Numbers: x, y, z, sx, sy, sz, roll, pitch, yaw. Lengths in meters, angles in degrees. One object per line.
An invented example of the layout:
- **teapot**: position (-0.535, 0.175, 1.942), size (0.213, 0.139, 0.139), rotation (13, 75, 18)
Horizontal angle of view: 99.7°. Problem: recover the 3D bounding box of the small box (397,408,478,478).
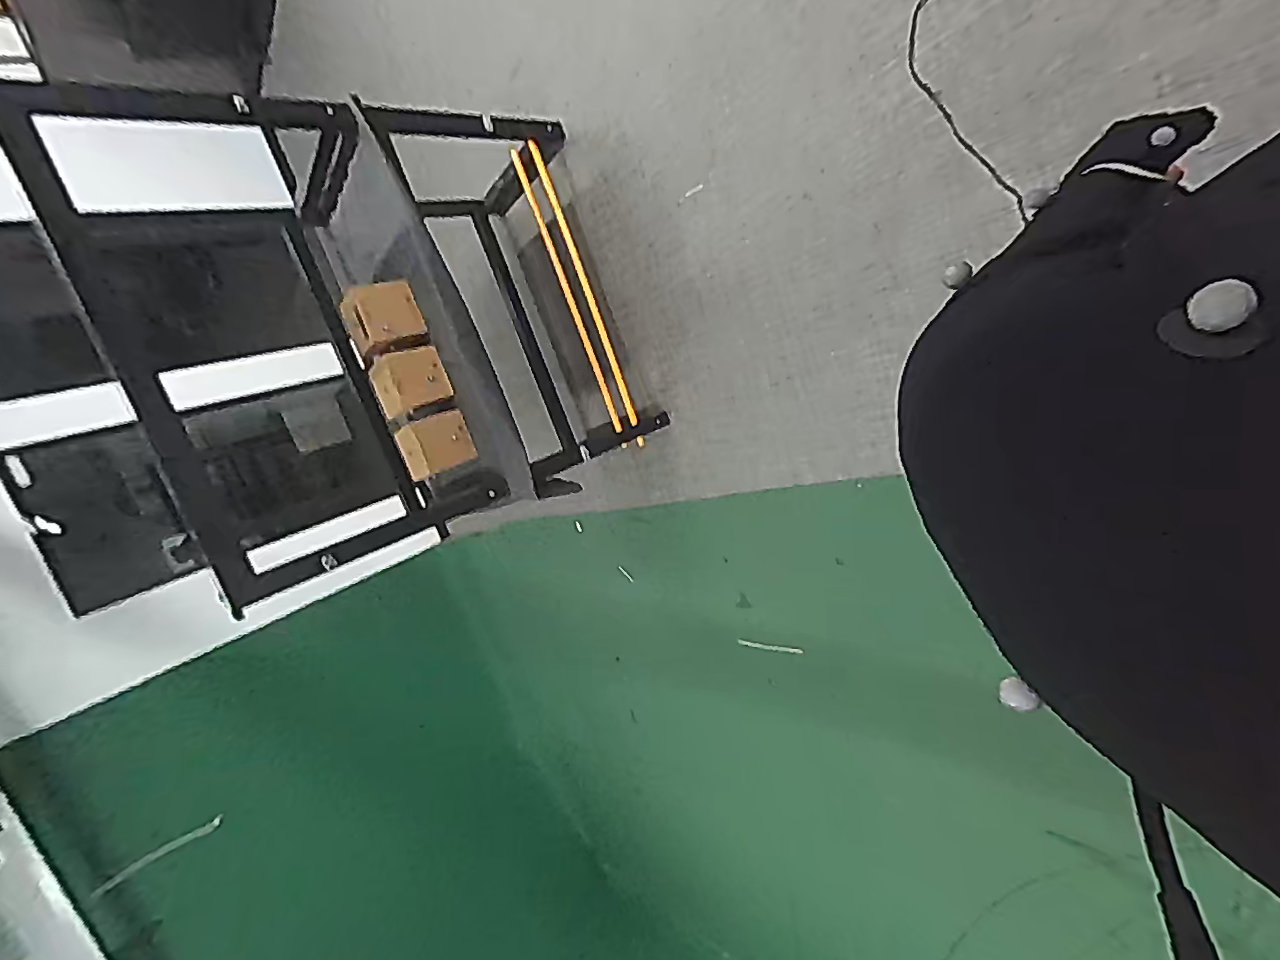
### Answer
- **small box**: position (-0.648, -0.119, 1.737), size (0.179, 0.176, 0.168), rotation (-12, 102, 51)
